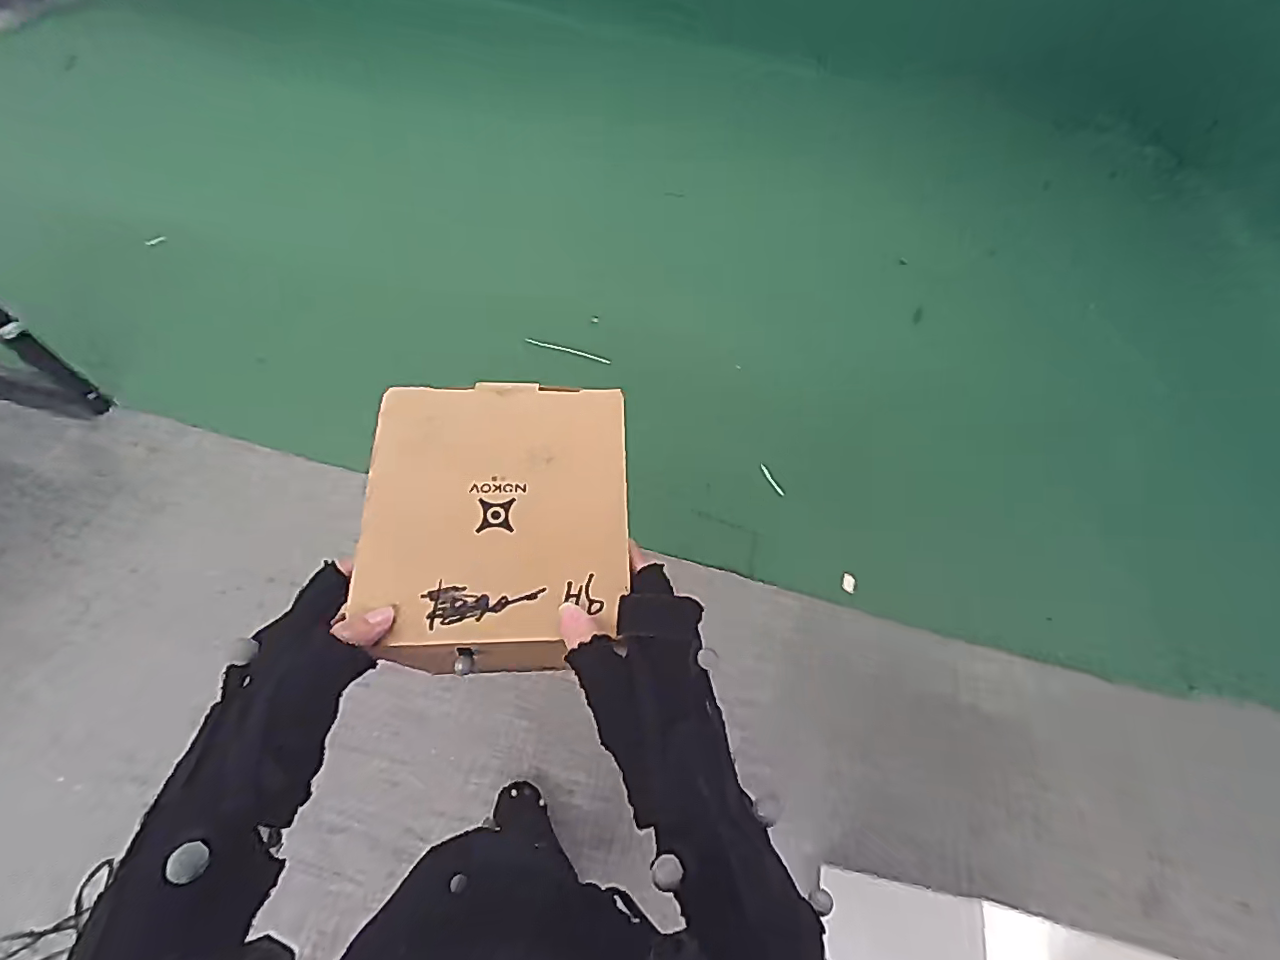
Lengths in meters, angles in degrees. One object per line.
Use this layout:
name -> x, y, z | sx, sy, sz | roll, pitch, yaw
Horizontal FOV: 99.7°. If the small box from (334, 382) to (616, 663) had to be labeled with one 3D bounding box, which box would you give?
small box -> -0.105, 0.042, 0.425 | 0.168, 0.176, 0.179 | -1, 67, -4
